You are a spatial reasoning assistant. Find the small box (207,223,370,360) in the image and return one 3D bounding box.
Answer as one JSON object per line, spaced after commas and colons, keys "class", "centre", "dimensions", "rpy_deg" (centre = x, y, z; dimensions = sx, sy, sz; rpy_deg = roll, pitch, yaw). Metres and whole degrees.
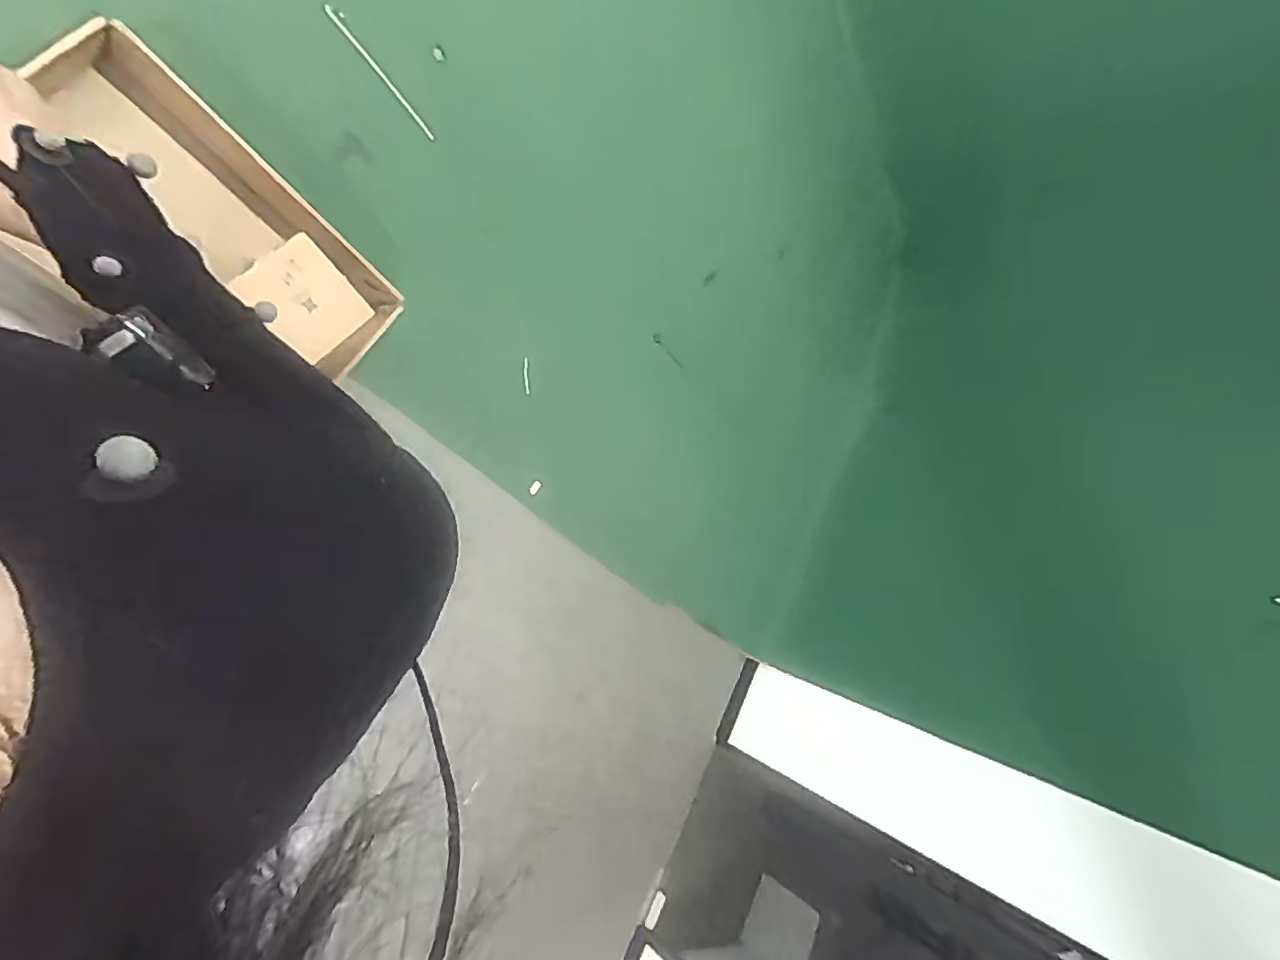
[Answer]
{"class": "small box", "centre": [-0.656, -0.347, 1.012], "dimensions": [0.168, 0.176, 0.179], "rpy_deg": [-54, 132, -24]}
